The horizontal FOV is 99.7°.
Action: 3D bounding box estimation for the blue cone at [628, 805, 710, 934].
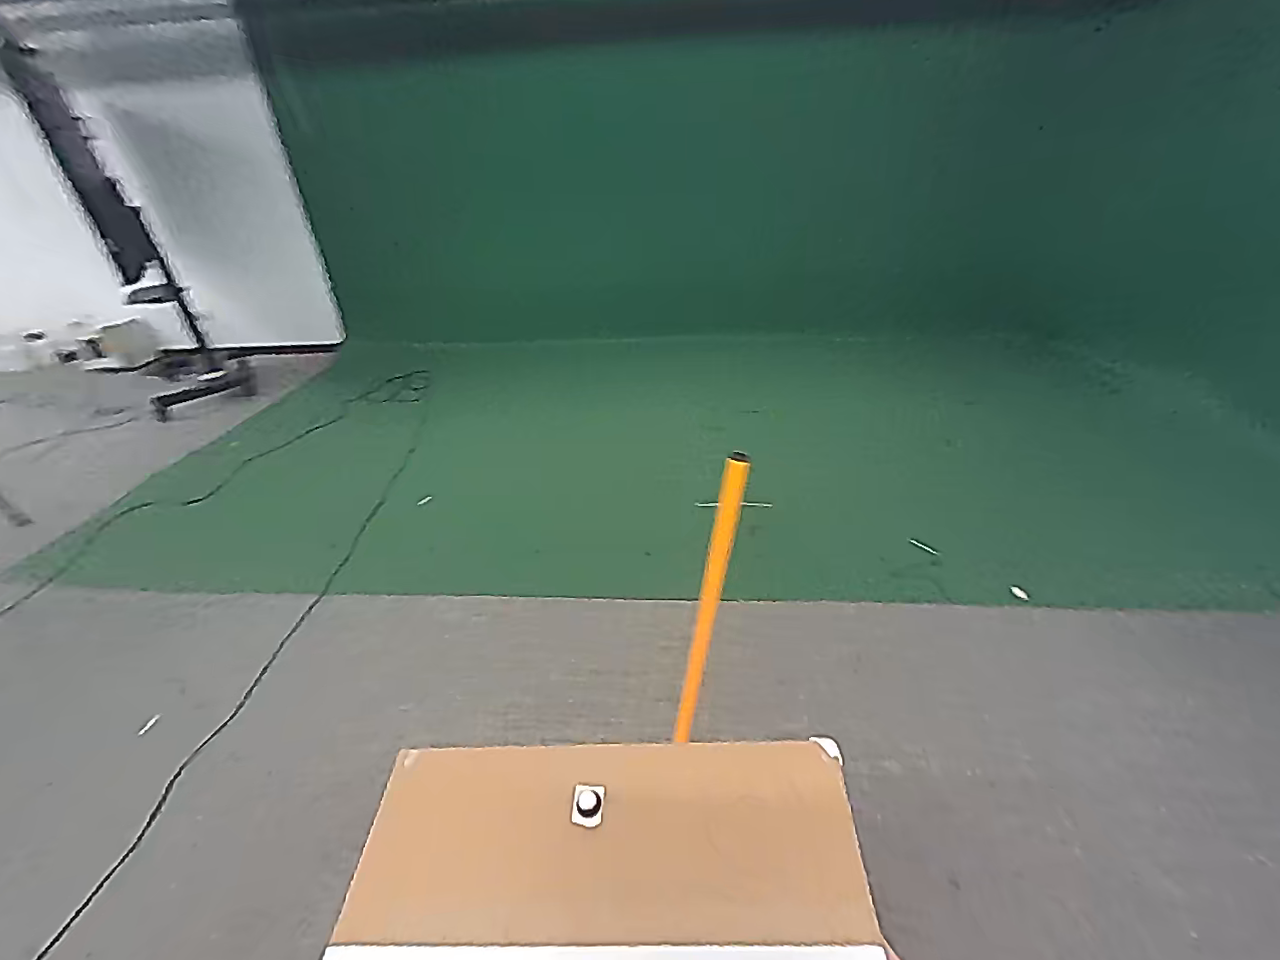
[{"bbox_3d":[0.065,0.835,1.214,0.193,0.380,0.192,0,32,2],"label":"blue cone"}]
